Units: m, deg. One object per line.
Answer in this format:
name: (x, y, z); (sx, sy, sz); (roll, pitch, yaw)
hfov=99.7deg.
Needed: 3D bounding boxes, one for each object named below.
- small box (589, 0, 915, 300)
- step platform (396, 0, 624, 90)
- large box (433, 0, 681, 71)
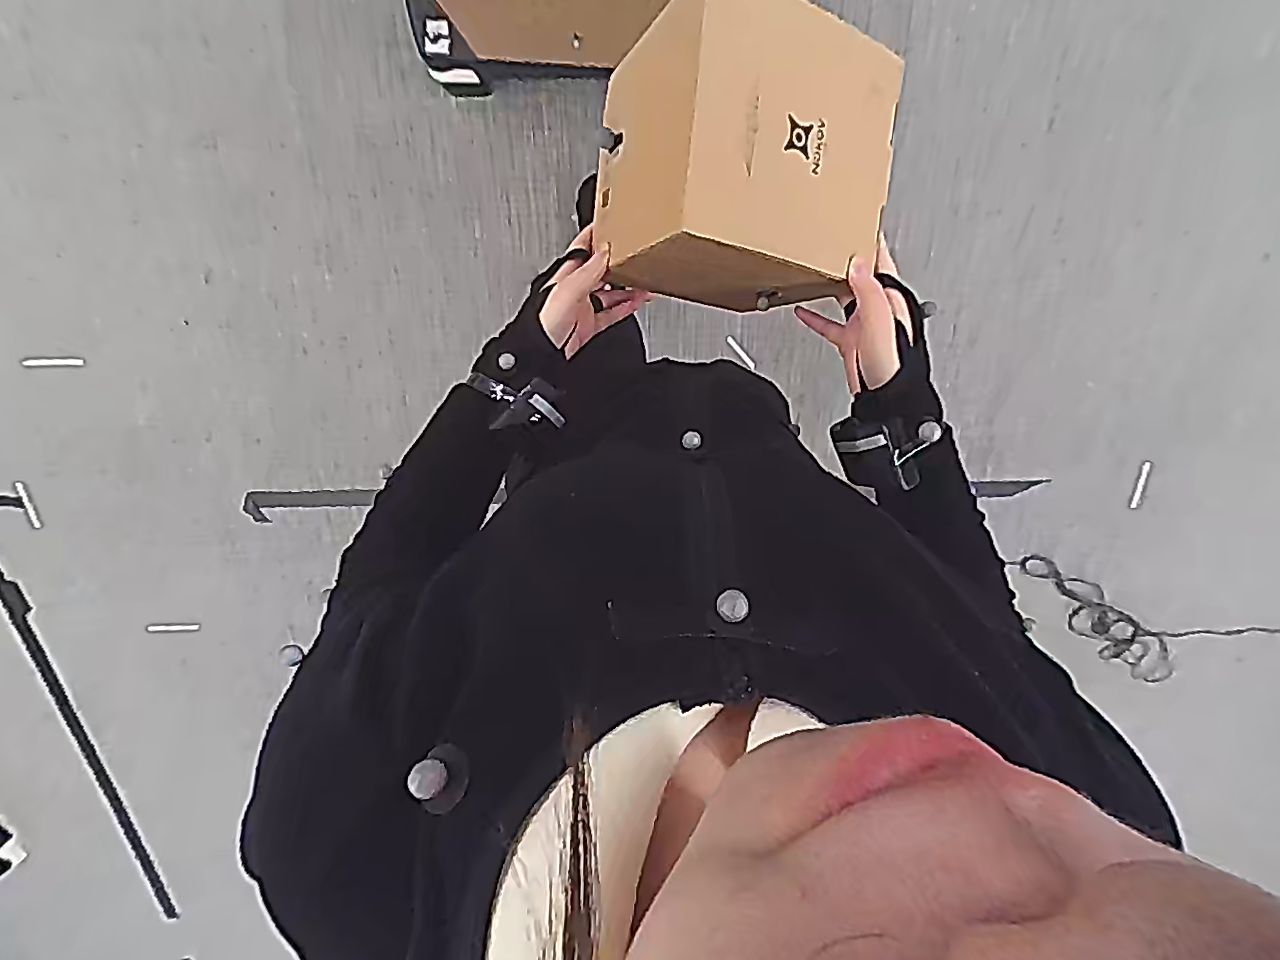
small box: (0.077, -0.250, 0.431); (0.179, 0.176, 0.168); (4, 96, -27)
step platform: (-0.117, -0.931, 1.054); (0.684, 0.204, 0.286); (4, 110, -2)
large box: (-0.093, -0.860, 0.827); (0.408, 0.320, 0.320); (2, 110, -1)
